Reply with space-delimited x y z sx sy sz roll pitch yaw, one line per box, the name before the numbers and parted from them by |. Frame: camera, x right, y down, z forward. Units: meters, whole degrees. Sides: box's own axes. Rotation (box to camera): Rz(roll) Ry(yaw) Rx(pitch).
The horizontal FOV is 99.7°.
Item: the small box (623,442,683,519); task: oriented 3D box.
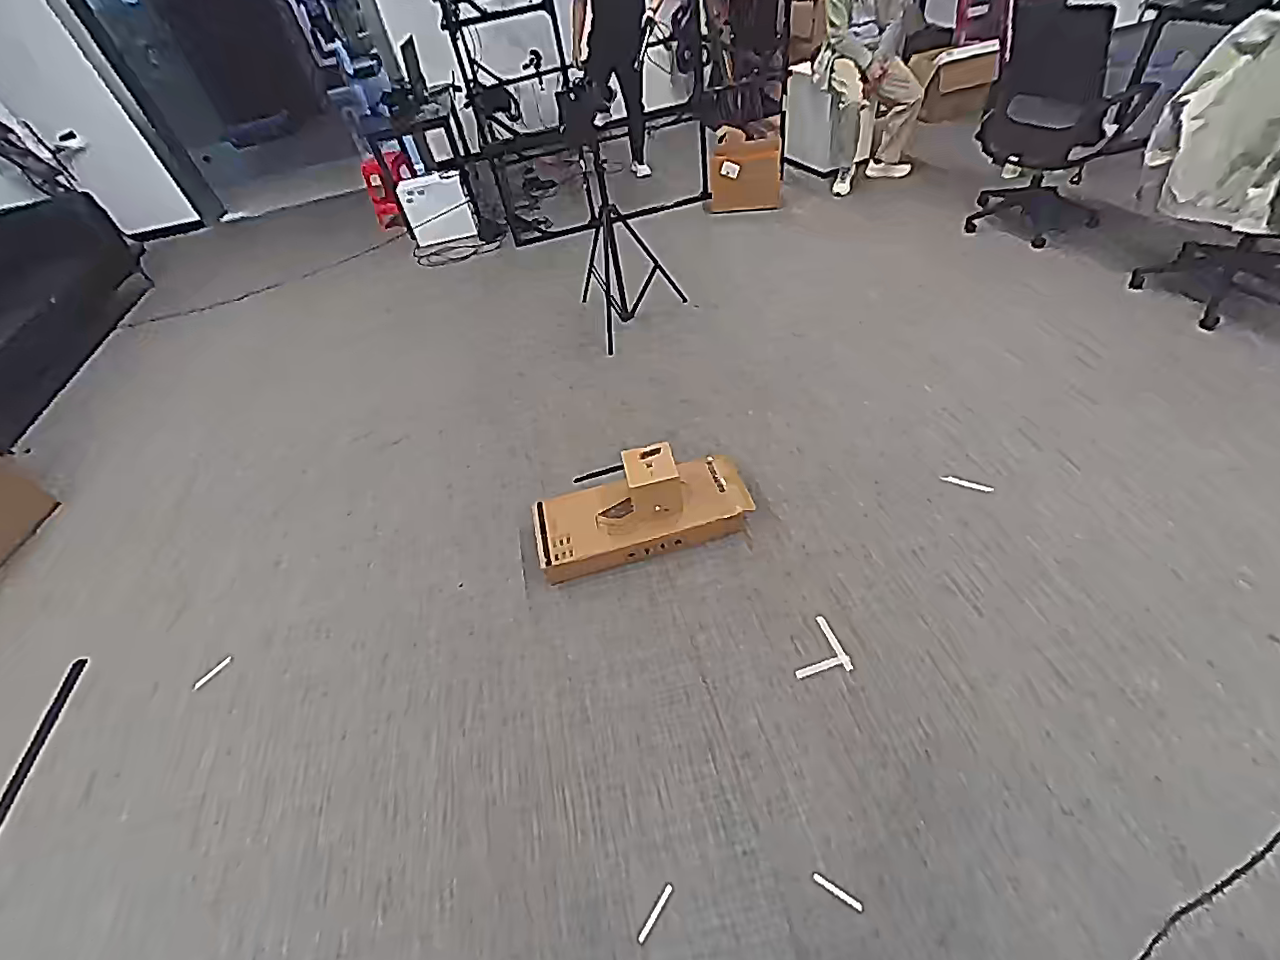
small box | 0.043 0.003 1.833 0.168 0.176 0.179 -13 46 -1
